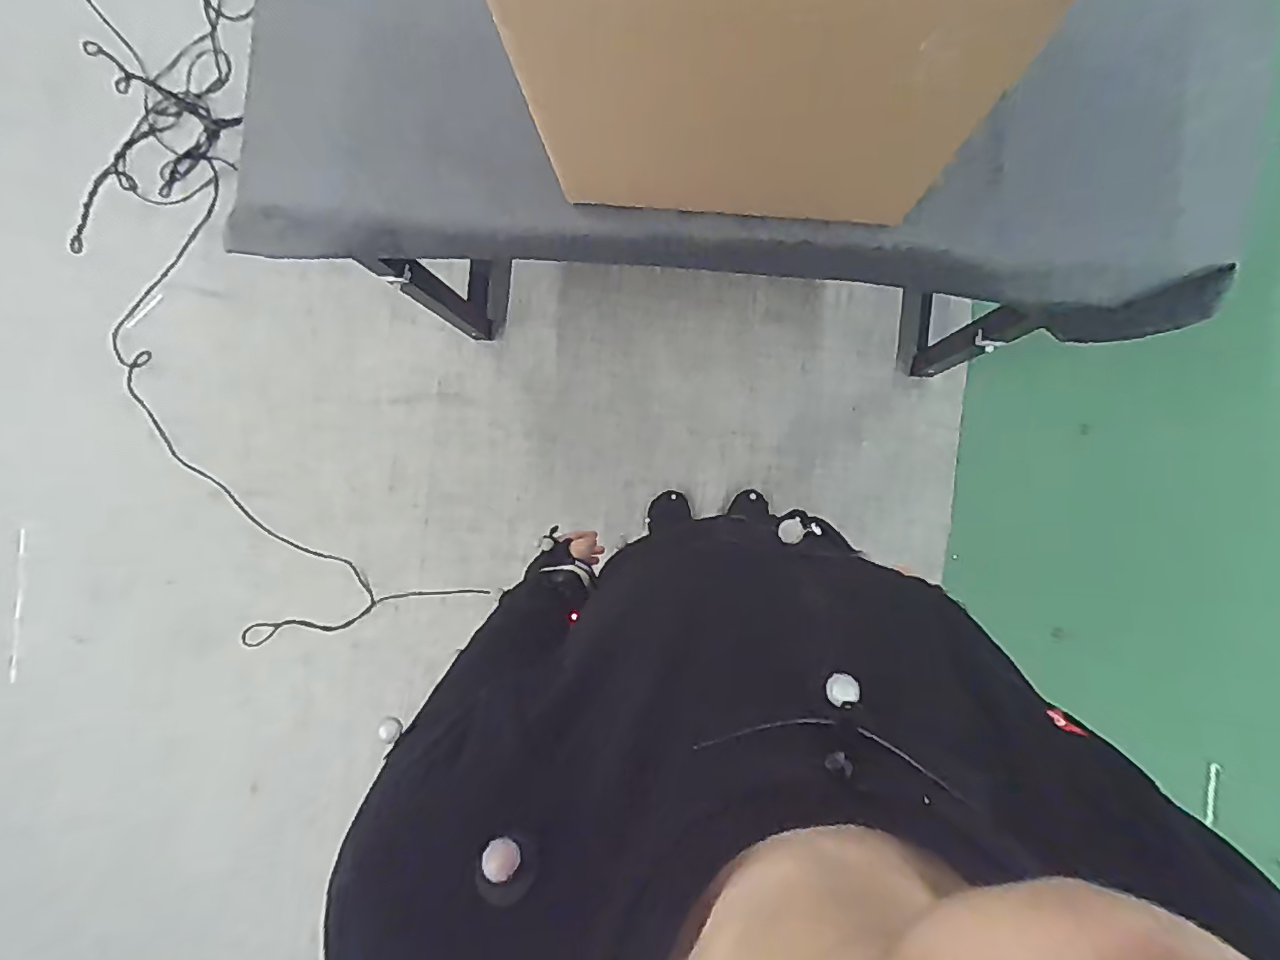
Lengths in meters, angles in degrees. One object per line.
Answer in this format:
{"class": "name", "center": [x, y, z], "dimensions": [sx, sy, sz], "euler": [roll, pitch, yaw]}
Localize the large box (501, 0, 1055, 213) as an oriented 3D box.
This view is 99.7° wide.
{"class": "large box", "center": [0.110, -0.484, 0.510], "dimensions": [0.408, 0.320, 0.320], "euler": [6, 89, 4]}
